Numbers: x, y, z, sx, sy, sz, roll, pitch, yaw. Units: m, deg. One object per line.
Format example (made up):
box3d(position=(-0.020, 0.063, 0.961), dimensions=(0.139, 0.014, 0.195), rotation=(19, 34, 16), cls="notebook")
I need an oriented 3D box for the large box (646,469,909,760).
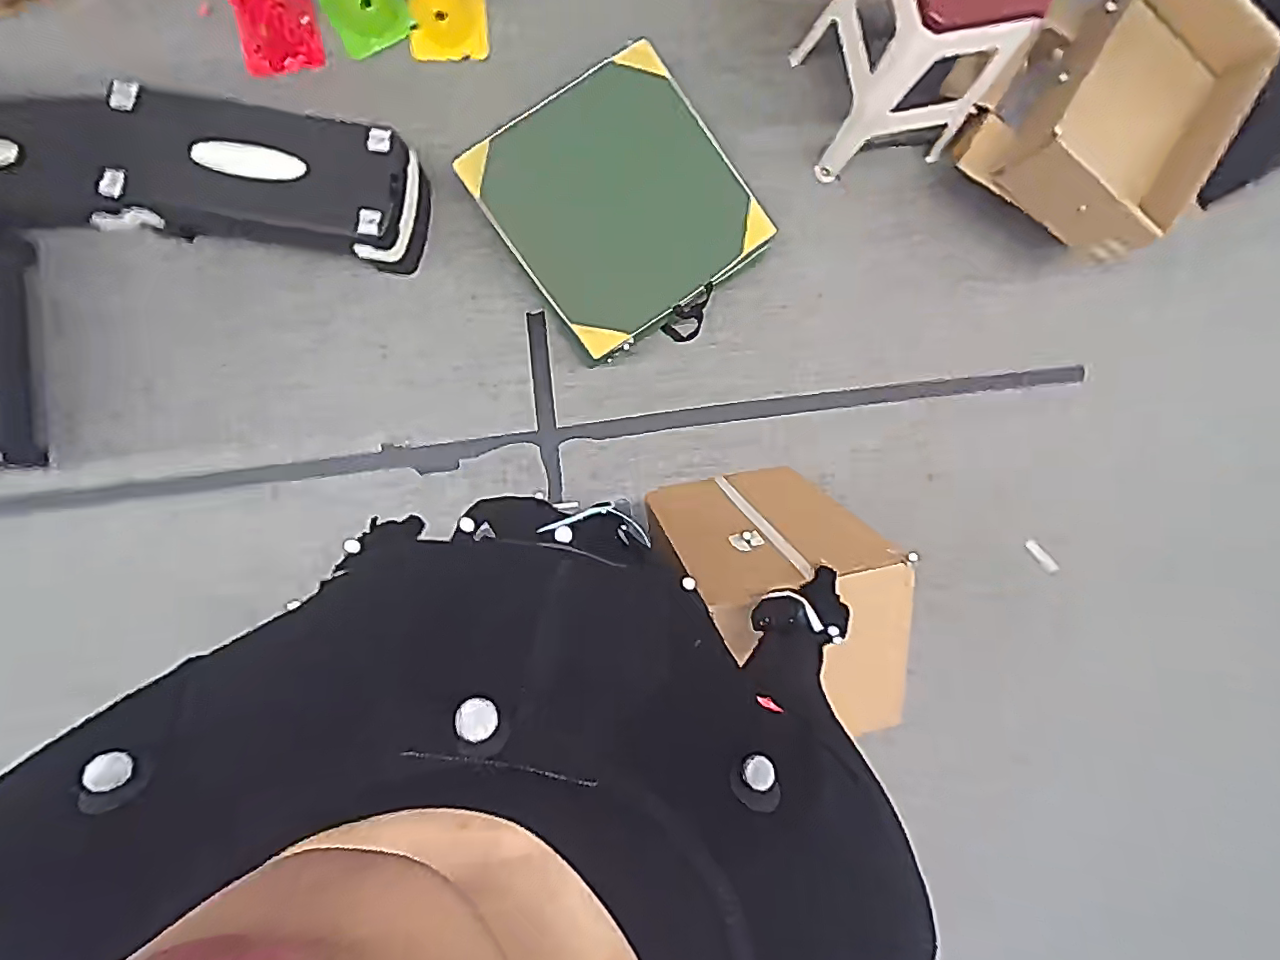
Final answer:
box3d(position=(0.215, 0.213, 0.996), dimensions=(0.320, 0.408, 0.320), rotation=(-11, 115, -8), cls="large box")
